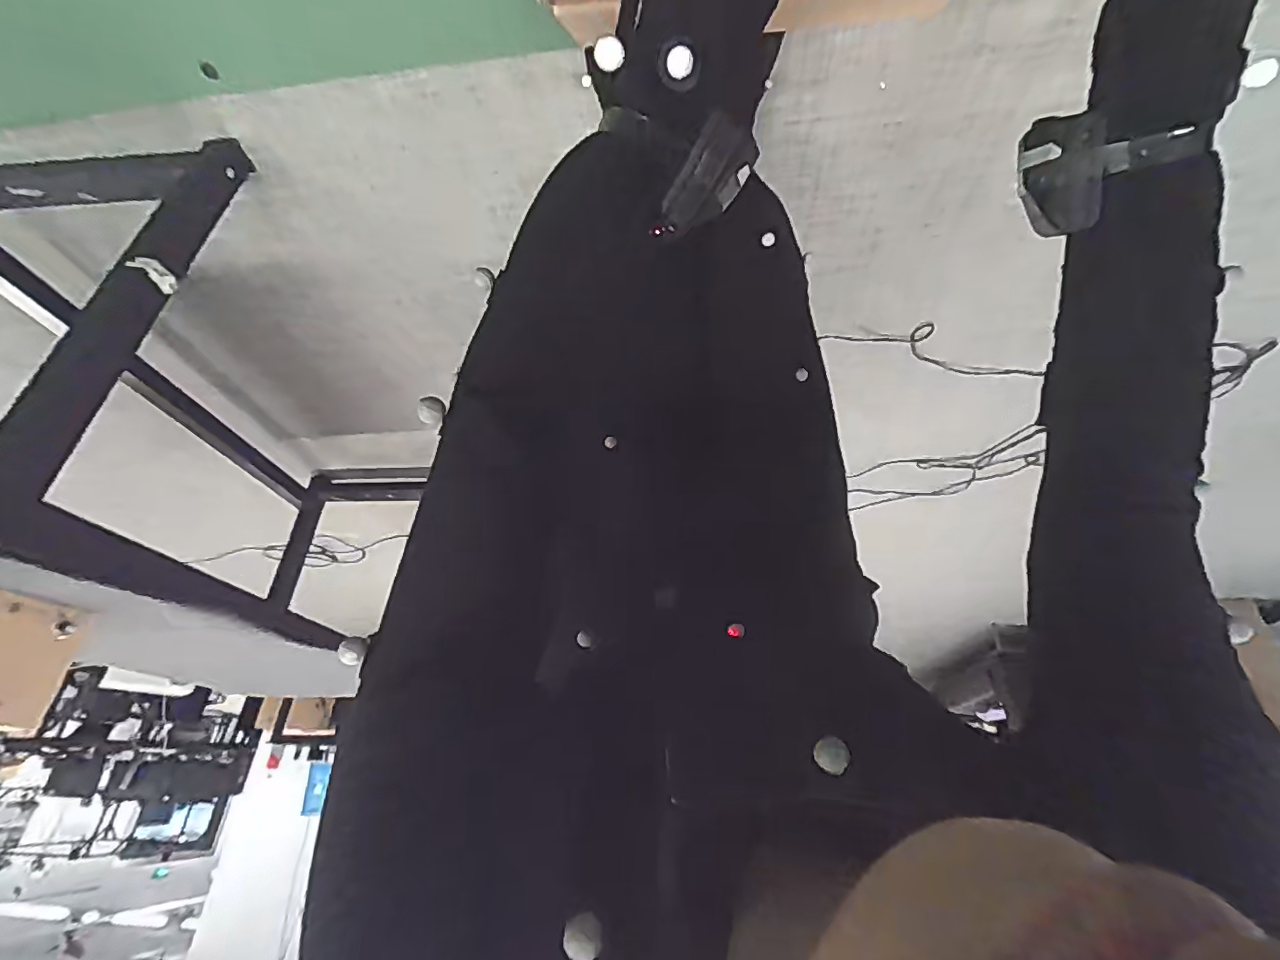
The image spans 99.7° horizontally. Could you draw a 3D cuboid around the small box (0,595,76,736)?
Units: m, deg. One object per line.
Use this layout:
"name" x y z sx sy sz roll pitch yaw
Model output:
"small box" -0.940 0.247 0.732 0.179 0.176 0.168 -2 150 9
